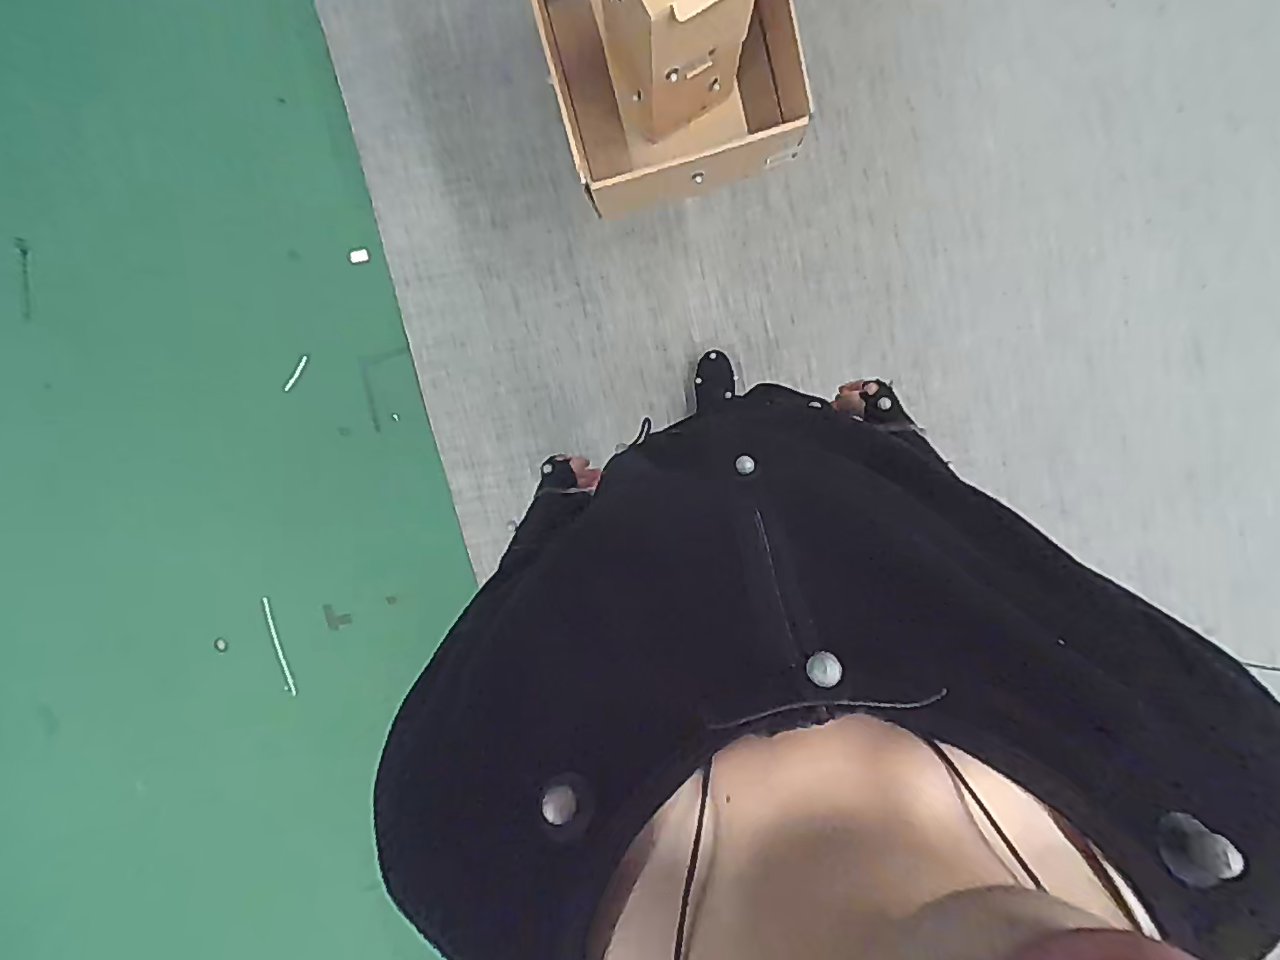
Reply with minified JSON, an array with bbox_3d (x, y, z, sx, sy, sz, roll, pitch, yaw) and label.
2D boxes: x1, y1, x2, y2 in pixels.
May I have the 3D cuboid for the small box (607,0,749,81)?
[{"bbox_3d":[0.048,-0.708,0.754,0.168,0.176,0.179,-28,94,5],"label":"small box"}]

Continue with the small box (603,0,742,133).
[{"bbox_3d":[0.055,-0.731,0.916,0.168,0.176,0.179,-27,95,6],"label":"small box"}]
